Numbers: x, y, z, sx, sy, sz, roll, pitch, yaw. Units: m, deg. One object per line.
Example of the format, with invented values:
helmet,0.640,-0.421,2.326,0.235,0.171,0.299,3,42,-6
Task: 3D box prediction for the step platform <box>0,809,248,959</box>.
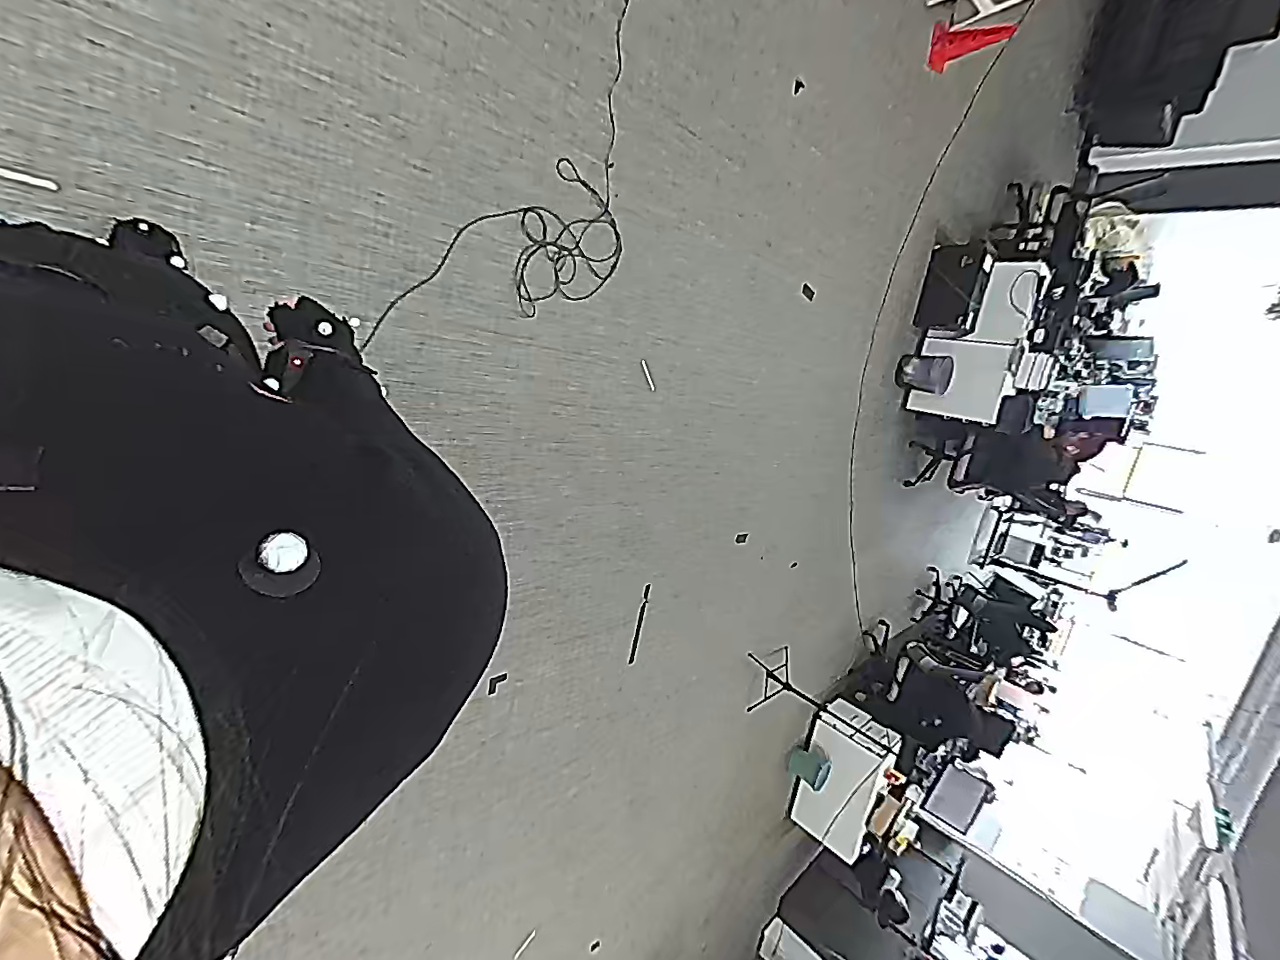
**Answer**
step platform,-1.270,1.031,1.171,0.684,0.204,0.286,-4,108,-45
